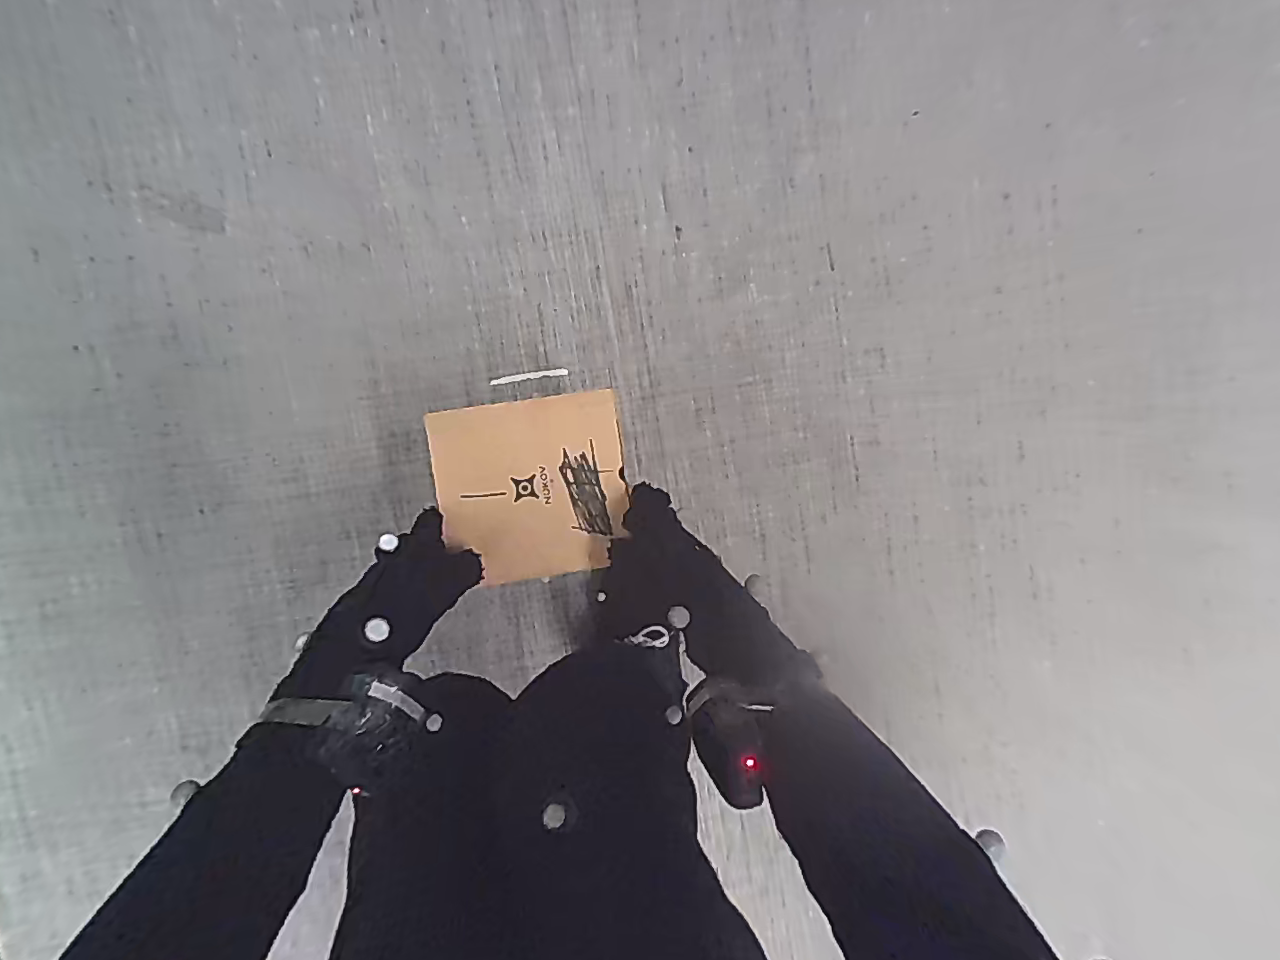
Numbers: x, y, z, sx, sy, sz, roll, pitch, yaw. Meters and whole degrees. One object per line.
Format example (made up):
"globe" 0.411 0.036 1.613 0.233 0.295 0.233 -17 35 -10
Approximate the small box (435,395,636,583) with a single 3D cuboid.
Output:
"small box" -0.107 0.009 0.586 0.179 0.176 0.168 -6 87 -7
